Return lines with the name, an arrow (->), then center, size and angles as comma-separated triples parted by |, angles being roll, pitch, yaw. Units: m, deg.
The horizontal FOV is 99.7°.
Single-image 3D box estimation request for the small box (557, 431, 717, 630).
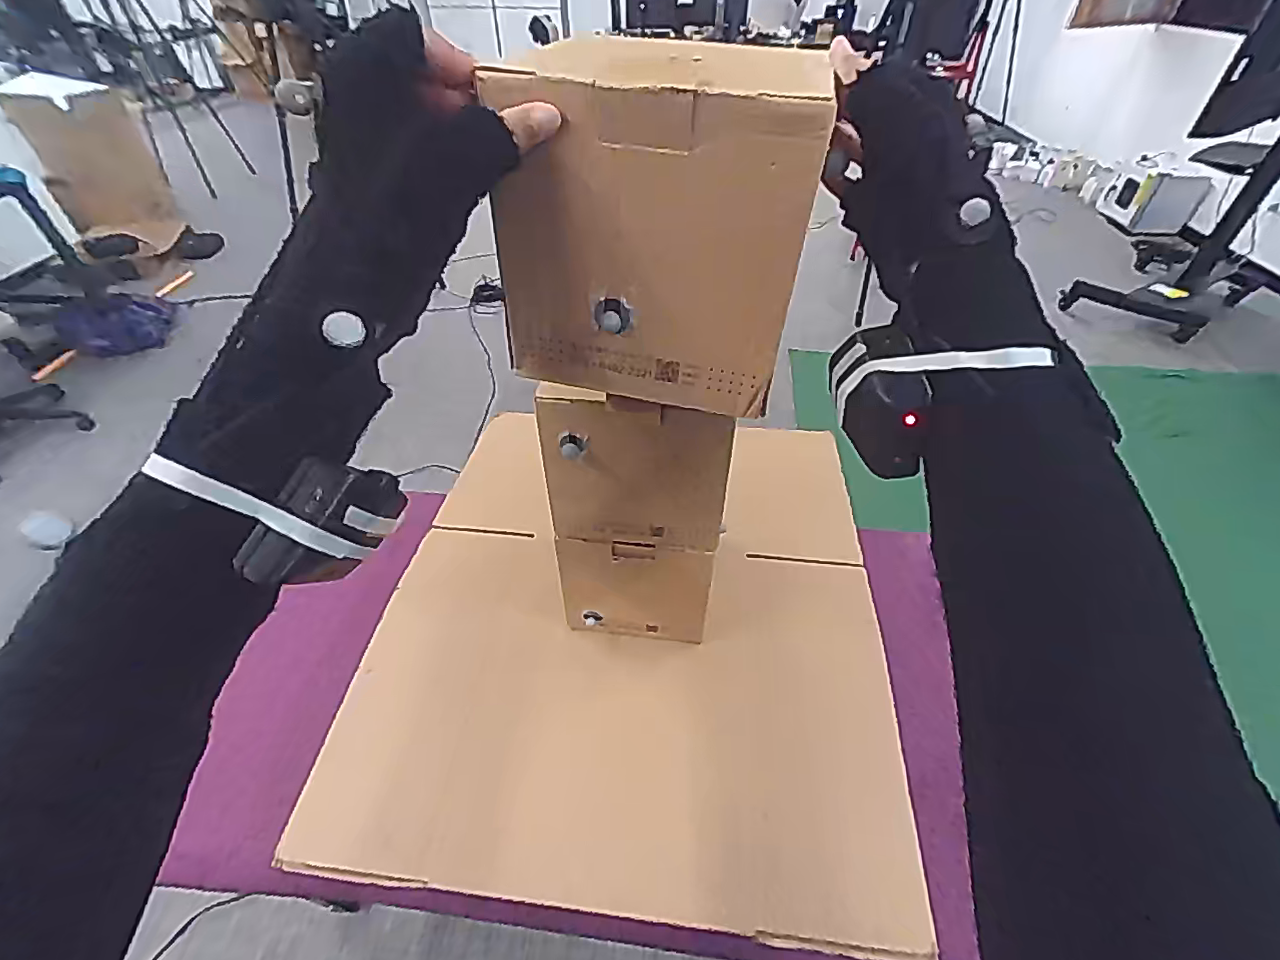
small box -> 0.004, 0.063, 0.653 | 0.168, 0.176, 0.179 | 3, 45, 3
